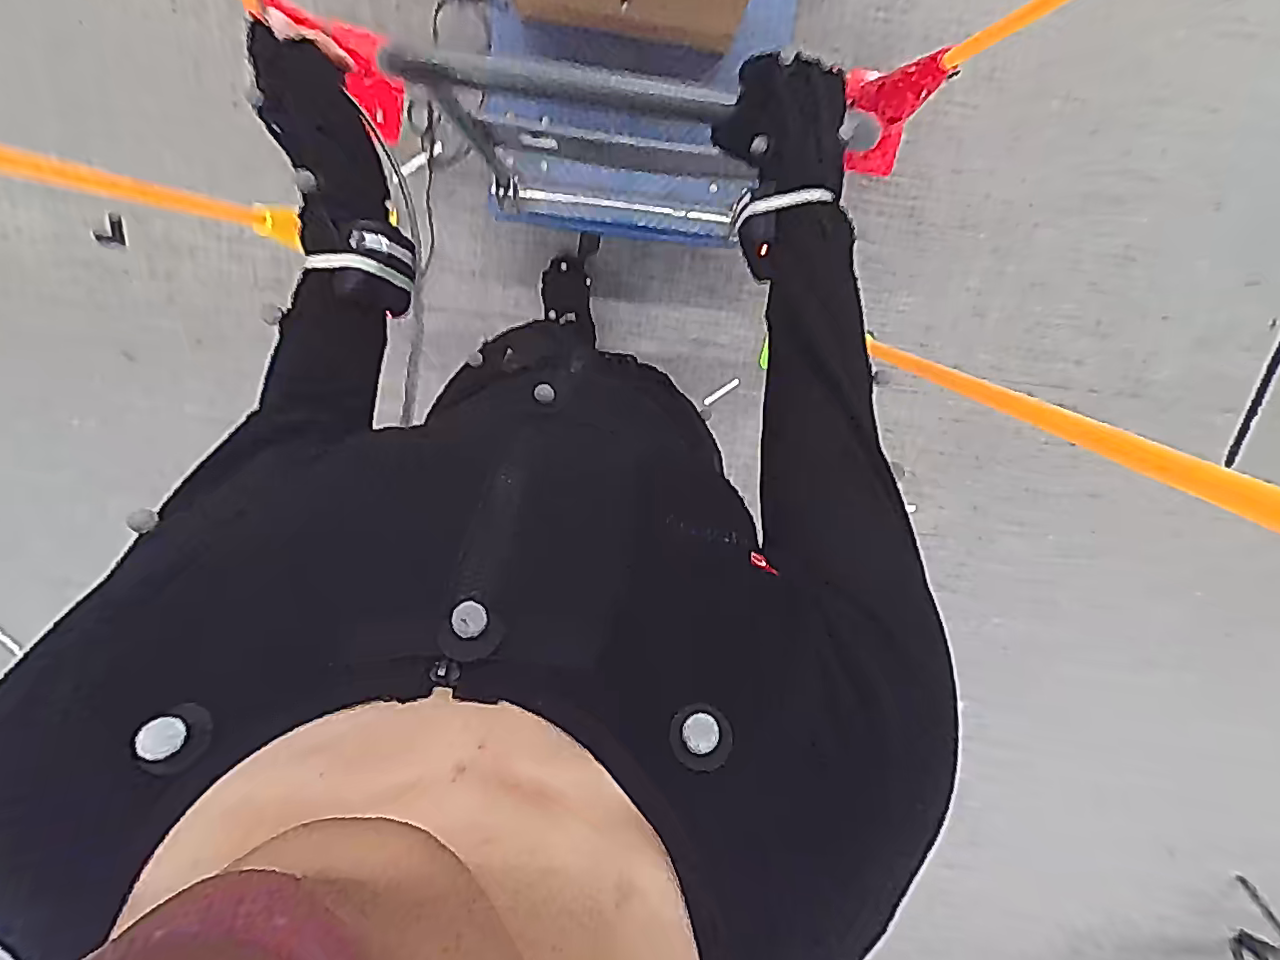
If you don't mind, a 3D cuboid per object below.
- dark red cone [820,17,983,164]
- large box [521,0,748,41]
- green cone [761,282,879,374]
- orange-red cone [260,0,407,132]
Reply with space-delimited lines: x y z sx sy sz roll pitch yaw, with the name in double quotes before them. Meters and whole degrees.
"dark red cone" 0.520 -0.777 1.050 0.201 0.394 0.202 6 109 -6
"large box" -0.002 -0.954 0.845 0.408 0.320 0.320 7 109 -3
"green cone" 0.431 -0.330 1.216 0.202 0.368 0.200 10 108 -6
"orange-red cone" -0.612 -0.842 1.019 0.198 0.360 0.199 14 106 -7
